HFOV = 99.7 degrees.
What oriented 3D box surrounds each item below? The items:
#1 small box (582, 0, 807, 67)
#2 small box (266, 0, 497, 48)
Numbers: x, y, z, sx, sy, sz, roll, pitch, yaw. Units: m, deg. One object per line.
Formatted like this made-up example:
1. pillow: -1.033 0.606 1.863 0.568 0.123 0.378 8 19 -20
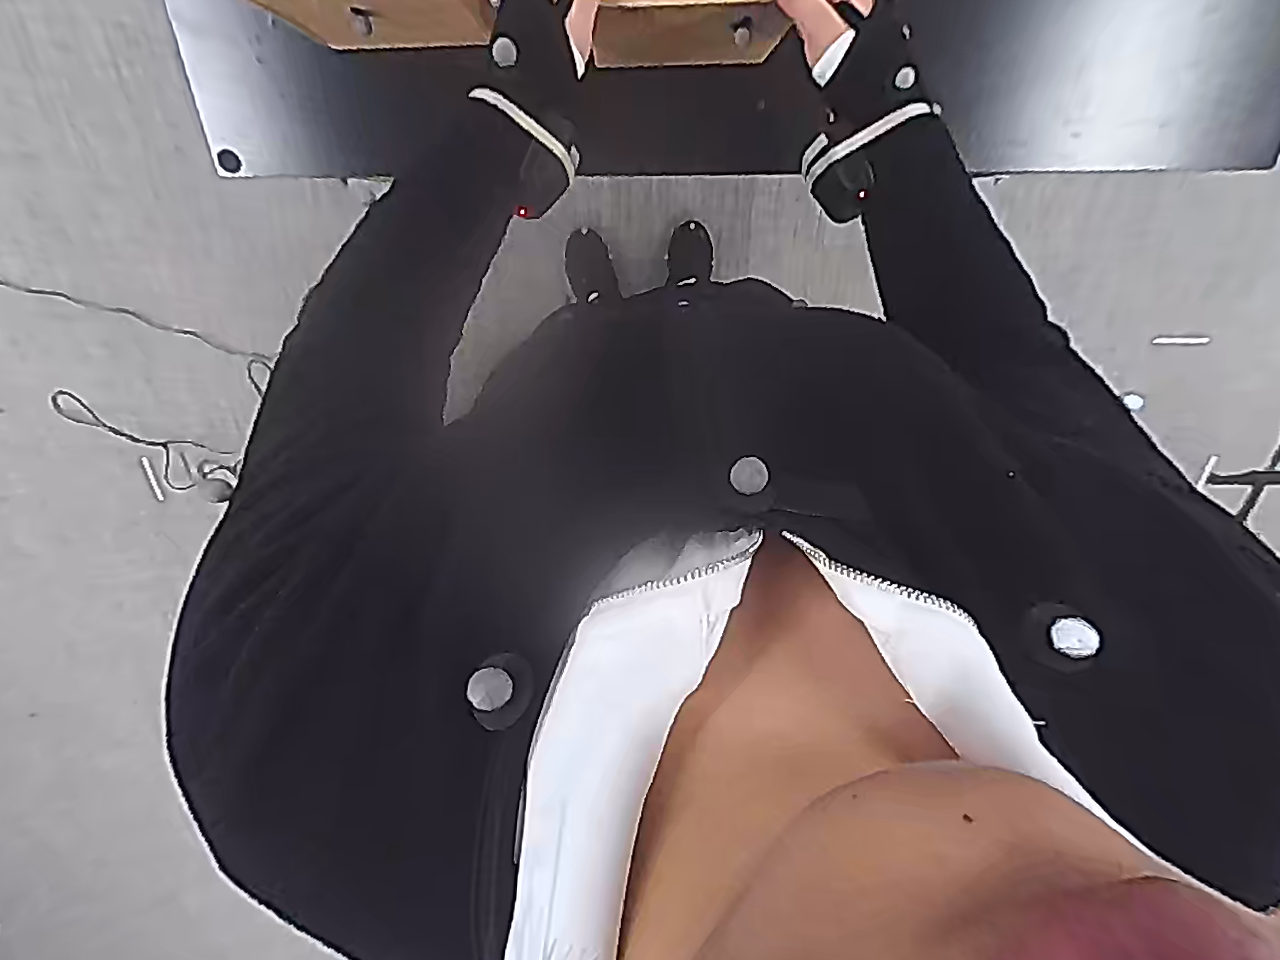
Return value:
1. small box: 0.038 -0.467 0.451 0.179 0.176 0.168 -2 115 0
2. small box: -0.233 -0.482 0.447 0.179 0.176 0.168 -3 116 -1
